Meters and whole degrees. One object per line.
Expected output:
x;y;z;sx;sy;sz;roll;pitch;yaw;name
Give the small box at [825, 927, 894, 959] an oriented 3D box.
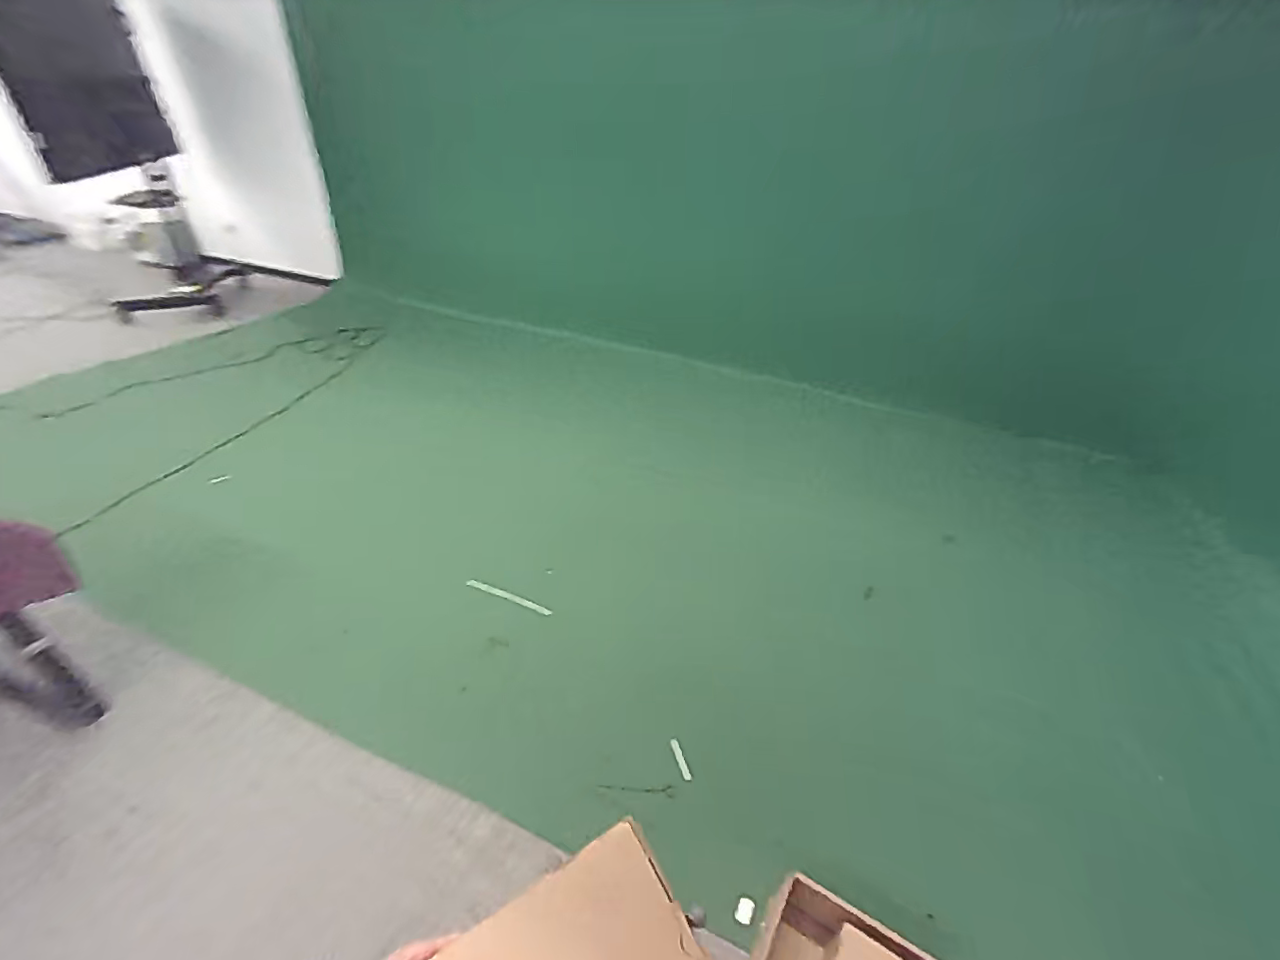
0.434;1.027;1.037;0.179;0.176;0.168;23;41;25;small box
